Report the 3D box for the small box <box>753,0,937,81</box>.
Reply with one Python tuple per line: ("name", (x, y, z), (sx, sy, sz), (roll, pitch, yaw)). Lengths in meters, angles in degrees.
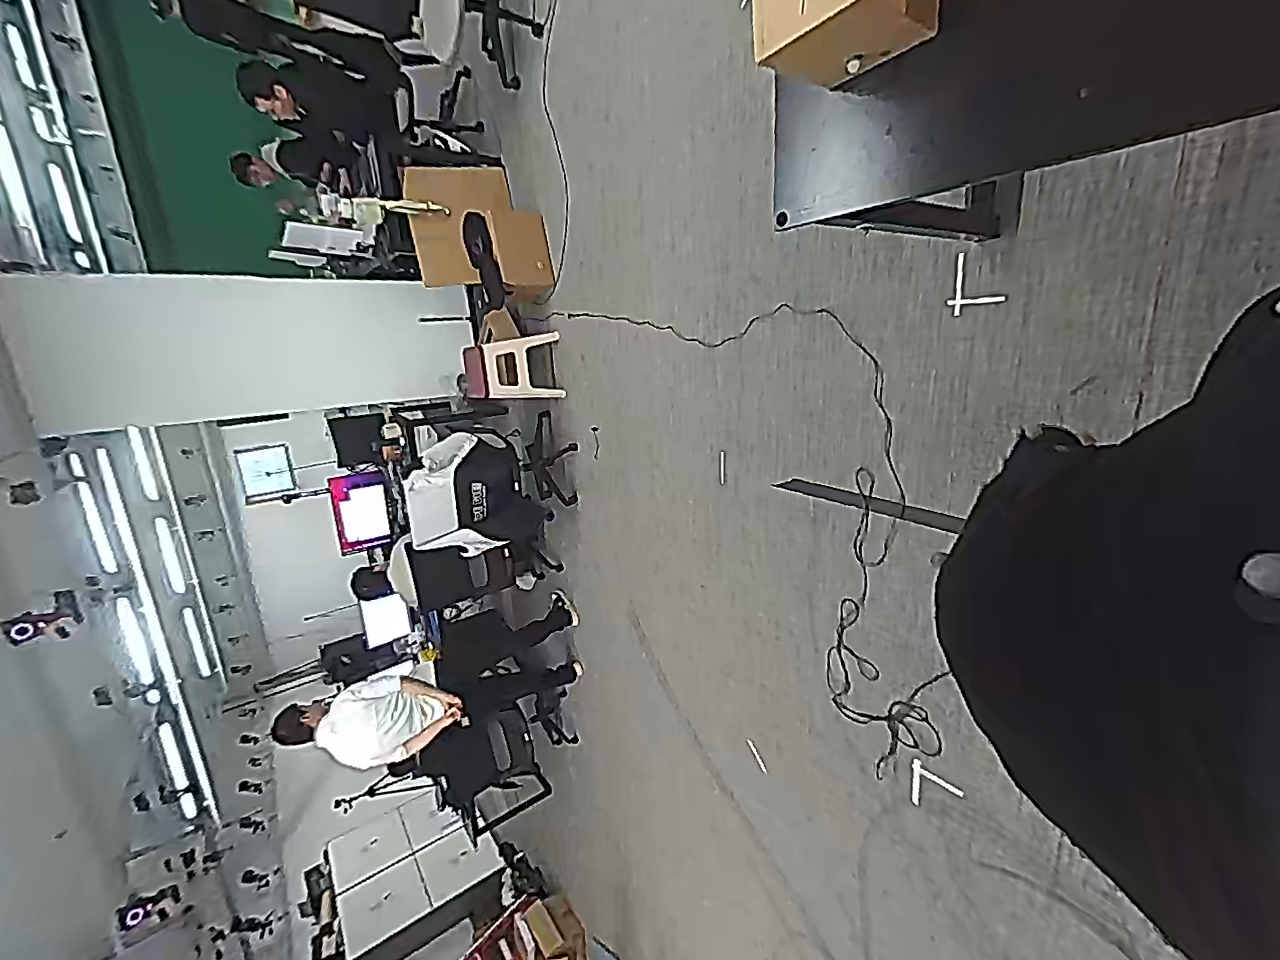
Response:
("small box", (0.263, -0.657, 0.694), (0.168, 0.176, 0.179), (14, 113, 53))
